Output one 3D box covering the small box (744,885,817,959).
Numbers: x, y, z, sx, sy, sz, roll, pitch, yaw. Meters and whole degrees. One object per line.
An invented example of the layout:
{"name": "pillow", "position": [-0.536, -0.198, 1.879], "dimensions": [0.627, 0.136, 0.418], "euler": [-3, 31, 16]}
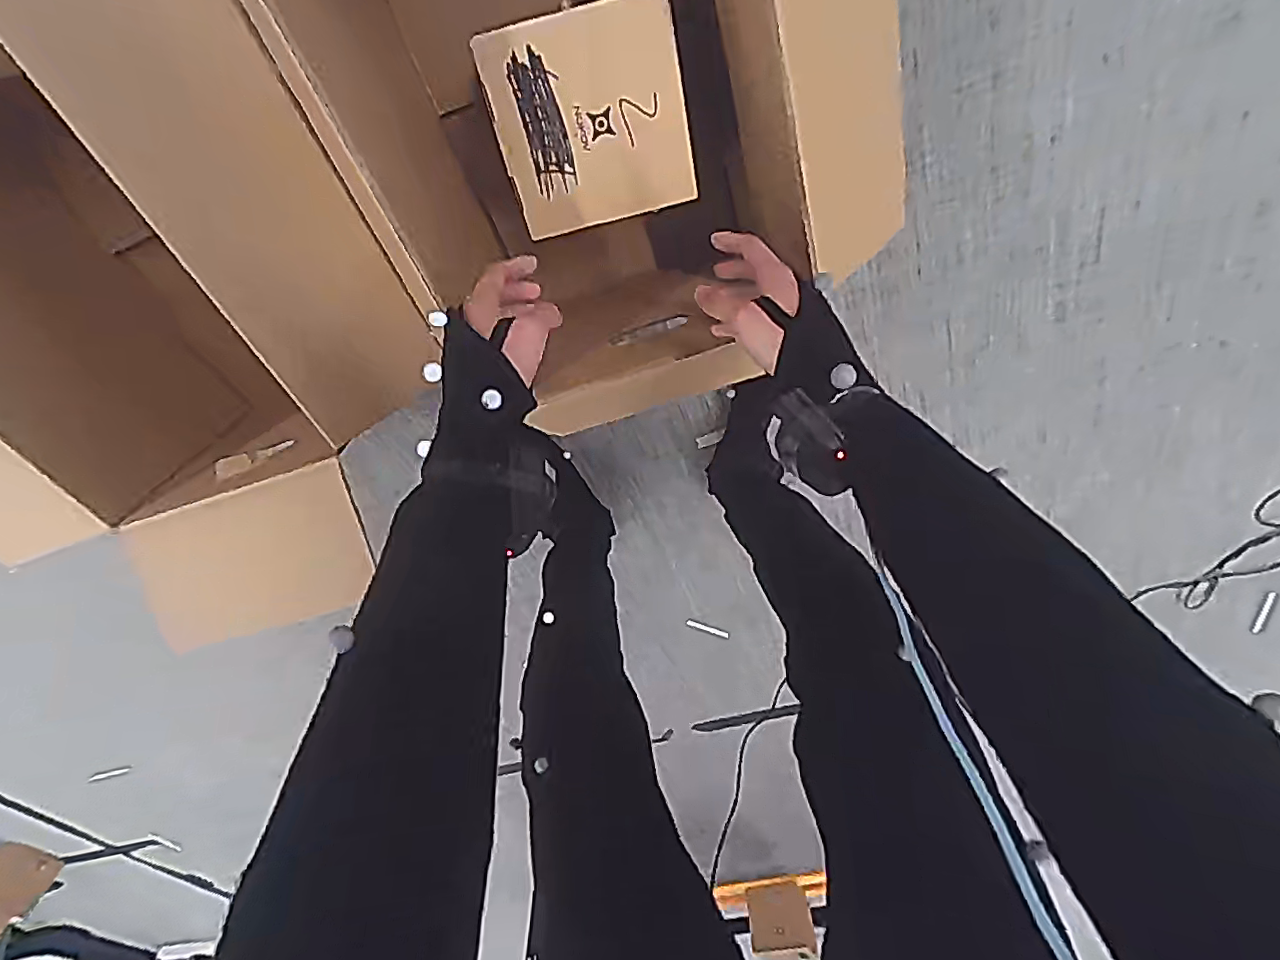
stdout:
{"name": "small box", "position": [0.450, 1.435, 1.746], "dimensions": [0.179, 0.176, 0.168], "euler": [-19, 124, 14]}
